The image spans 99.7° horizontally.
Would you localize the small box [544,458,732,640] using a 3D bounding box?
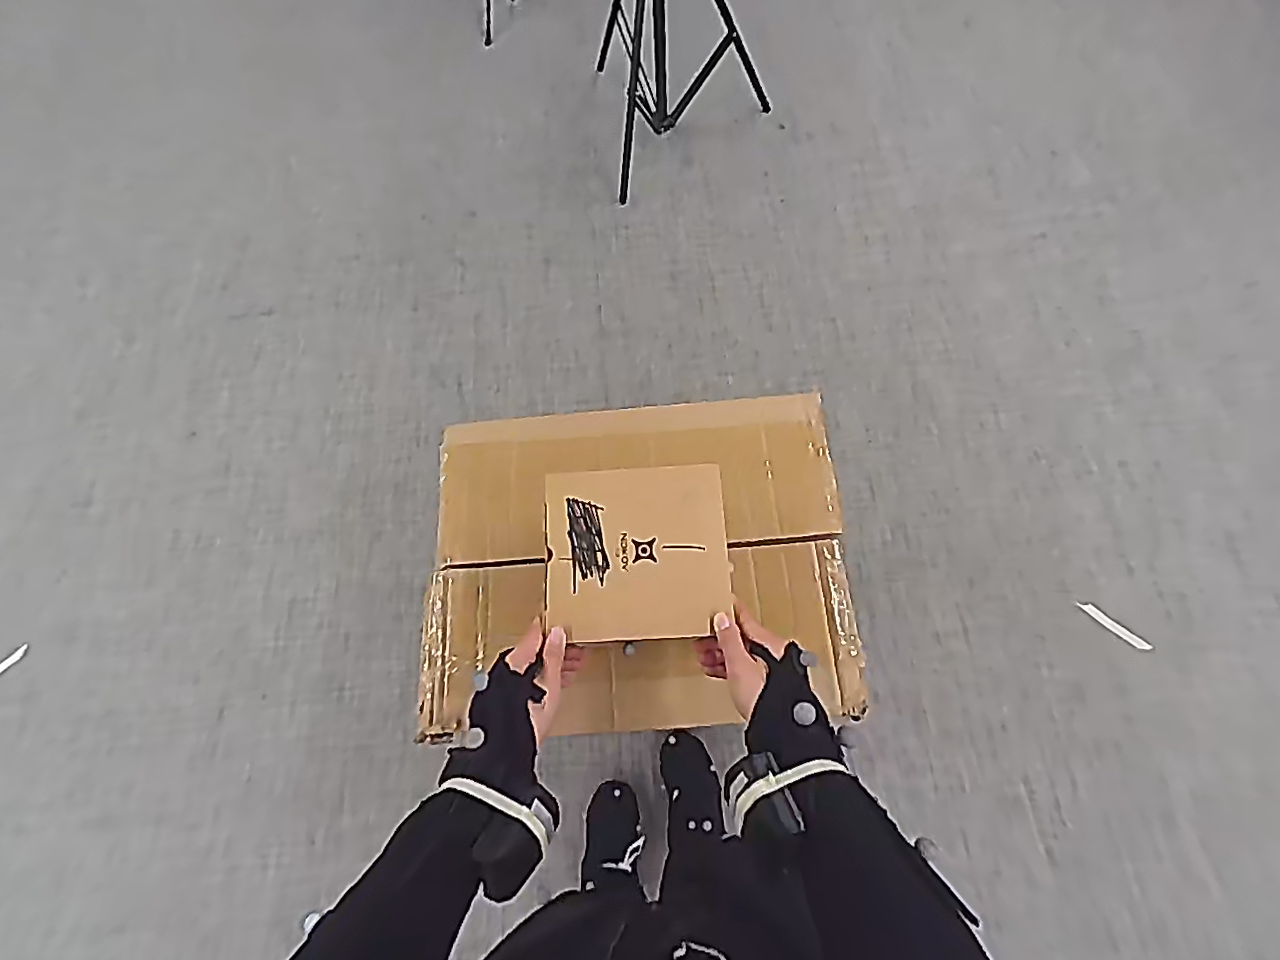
[{"bbox_3d":[0.000,0.085,0.591,0.179,0.176,0.168,-4,73,2],"label":"small box"}]
